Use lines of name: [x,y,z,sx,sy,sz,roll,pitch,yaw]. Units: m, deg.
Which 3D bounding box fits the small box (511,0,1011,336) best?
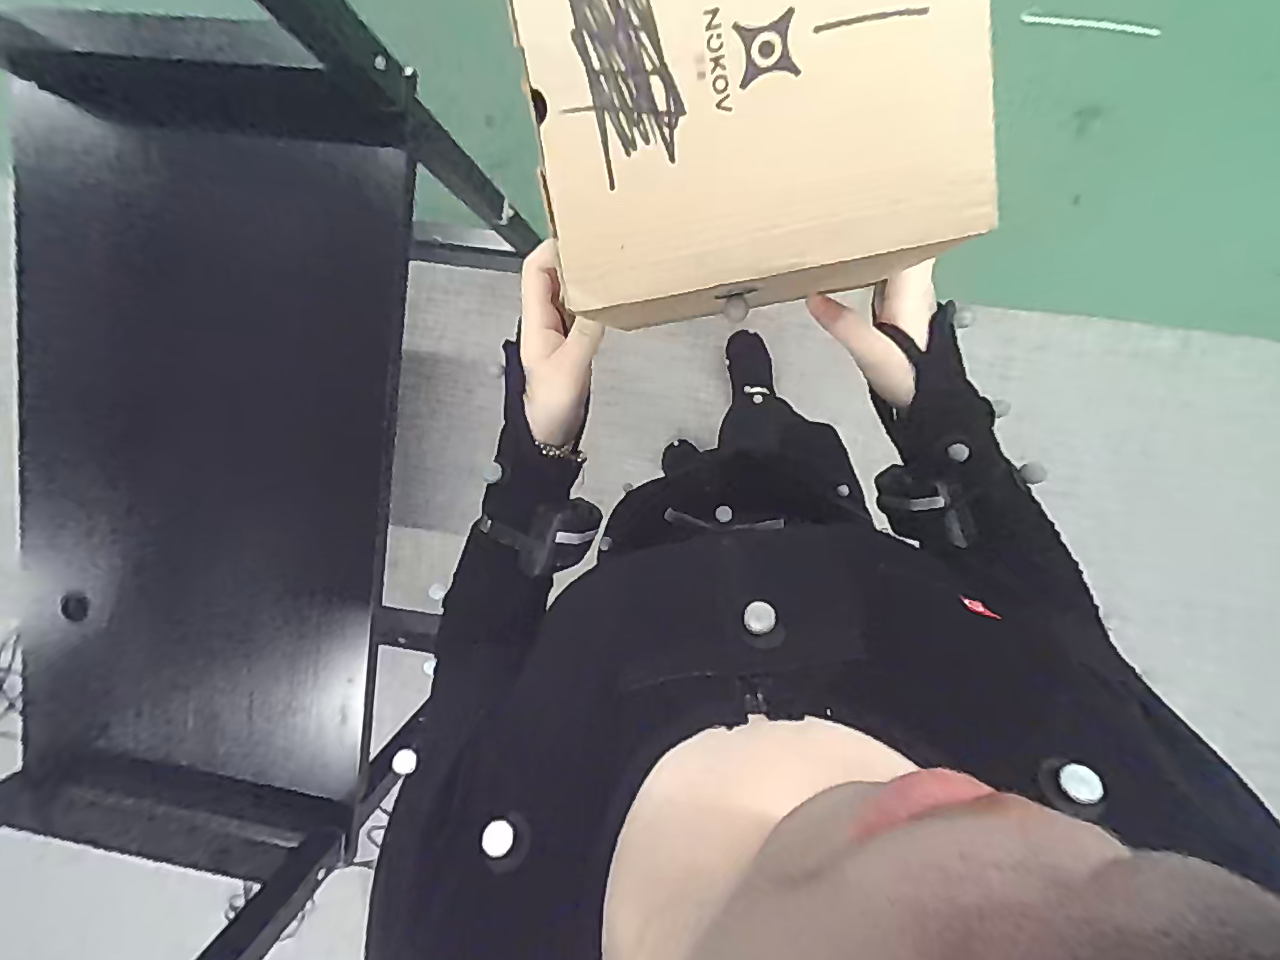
small box: [0.052,-0.173,0.278,0.179,0.176,0.168,-8,101,9]
